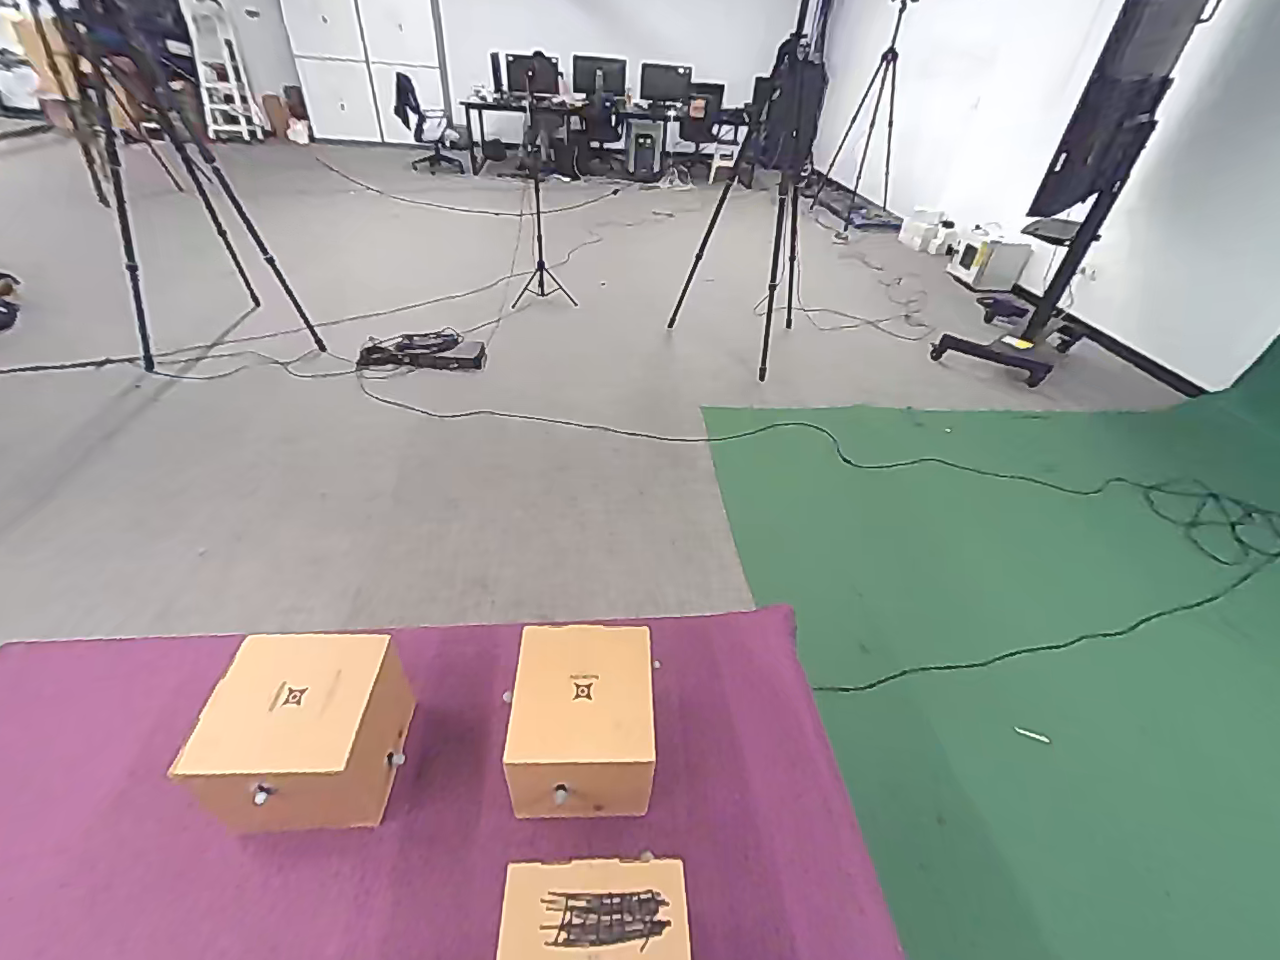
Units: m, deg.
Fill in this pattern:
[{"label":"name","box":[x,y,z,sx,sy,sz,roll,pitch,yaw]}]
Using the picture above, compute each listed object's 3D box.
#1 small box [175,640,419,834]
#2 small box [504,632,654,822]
[{"label":"small box","box":[-0.396,0.317,0.666,0.179,0.176,0.168,2,40,-4]},{"label":"small box","box":[-0.069,0.317,0.692,0.168,0.176,0.179,1,38,-3]}]
